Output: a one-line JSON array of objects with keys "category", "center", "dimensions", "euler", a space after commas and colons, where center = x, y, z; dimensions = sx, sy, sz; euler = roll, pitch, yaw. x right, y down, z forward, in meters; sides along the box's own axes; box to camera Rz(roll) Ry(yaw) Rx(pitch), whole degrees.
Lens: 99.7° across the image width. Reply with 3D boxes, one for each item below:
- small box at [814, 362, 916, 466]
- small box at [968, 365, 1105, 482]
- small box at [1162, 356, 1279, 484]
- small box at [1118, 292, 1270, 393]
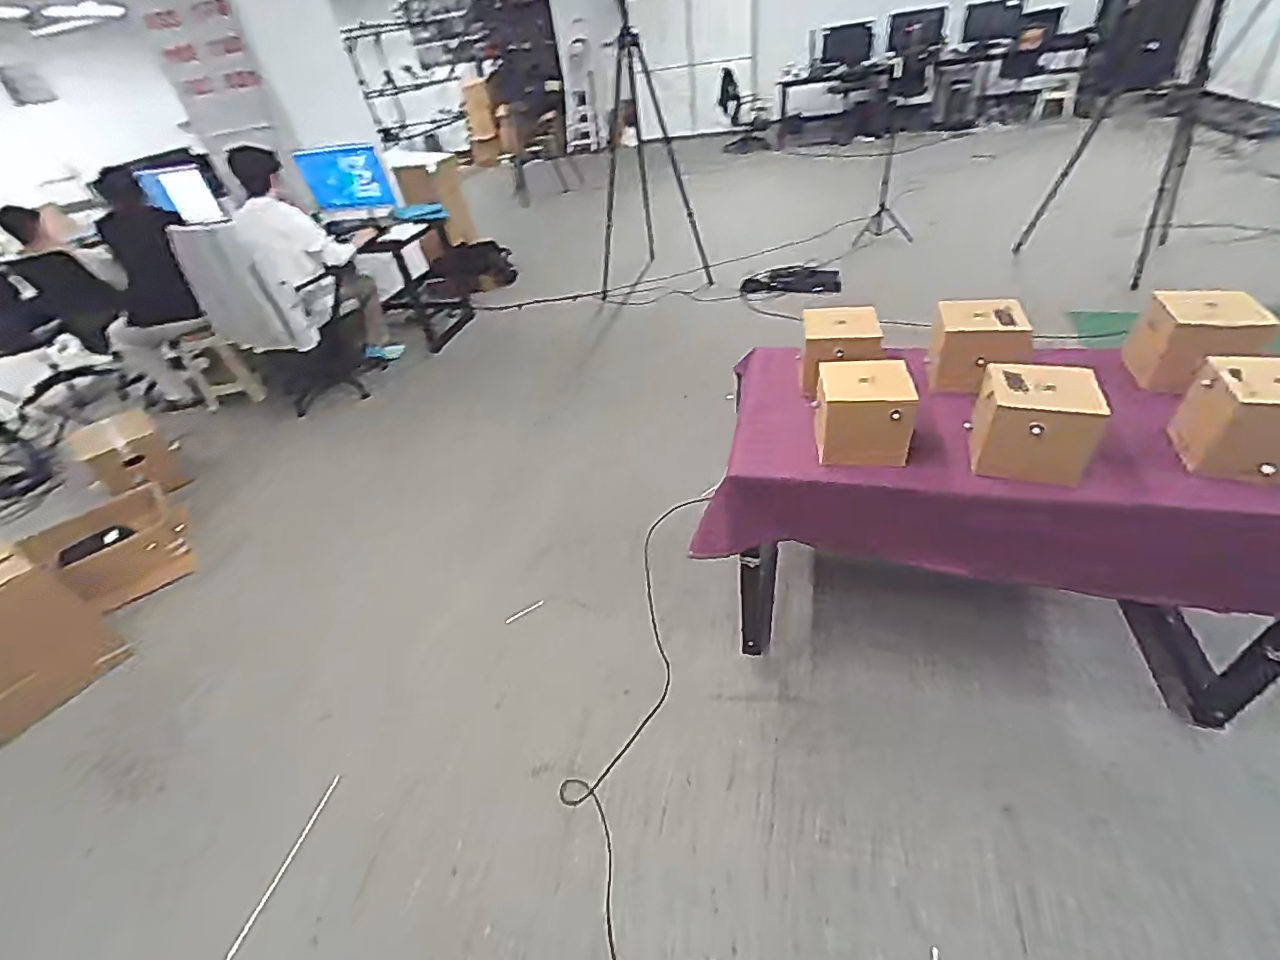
[{"category": "small box", "center": [0.478, -0.143, 1.180], "dimensions": [0.179, 0.176, 0.168], "euler": [1, 40, 11]}, {"category": "small box", "center": [0.775, -0.113, 1.082], "dimensions": [0.179, 0.176, 0.168], "euler": [9, 43, 20]}, {"category": "small box", "center": [1.137, -0.110, 1.003], "dimensions": [0.179, 0.176, 0.168], "euler": [9, 43, 21]}, {"category": "small box", "center": [1.233, -0.311, 1.224], "dimensions": [0.168, 0.176, 0.179], "euler": [6, 43, 19]}]
